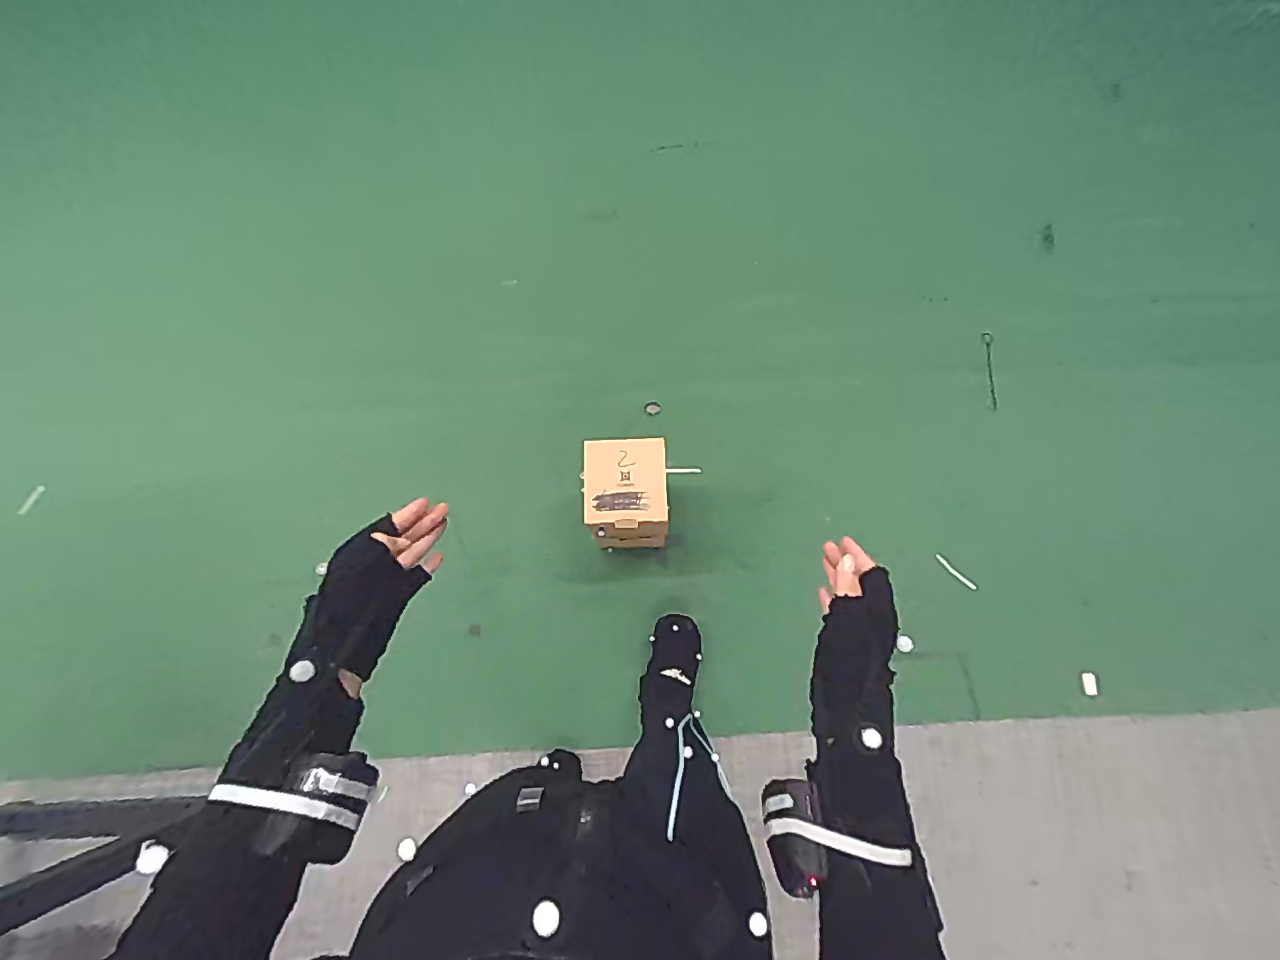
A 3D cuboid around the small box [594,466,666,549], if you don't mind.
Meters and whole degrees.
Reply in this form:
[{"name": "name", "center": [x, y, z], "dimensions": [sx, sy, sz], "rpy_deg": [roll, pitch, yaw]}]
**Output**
[{"name": "small box", "center": [-0.020, 0.072, 1.309], "dimensions": [0.168, 0.176, 0.179], "rpy_deg": [-1, 74, 1]}]
